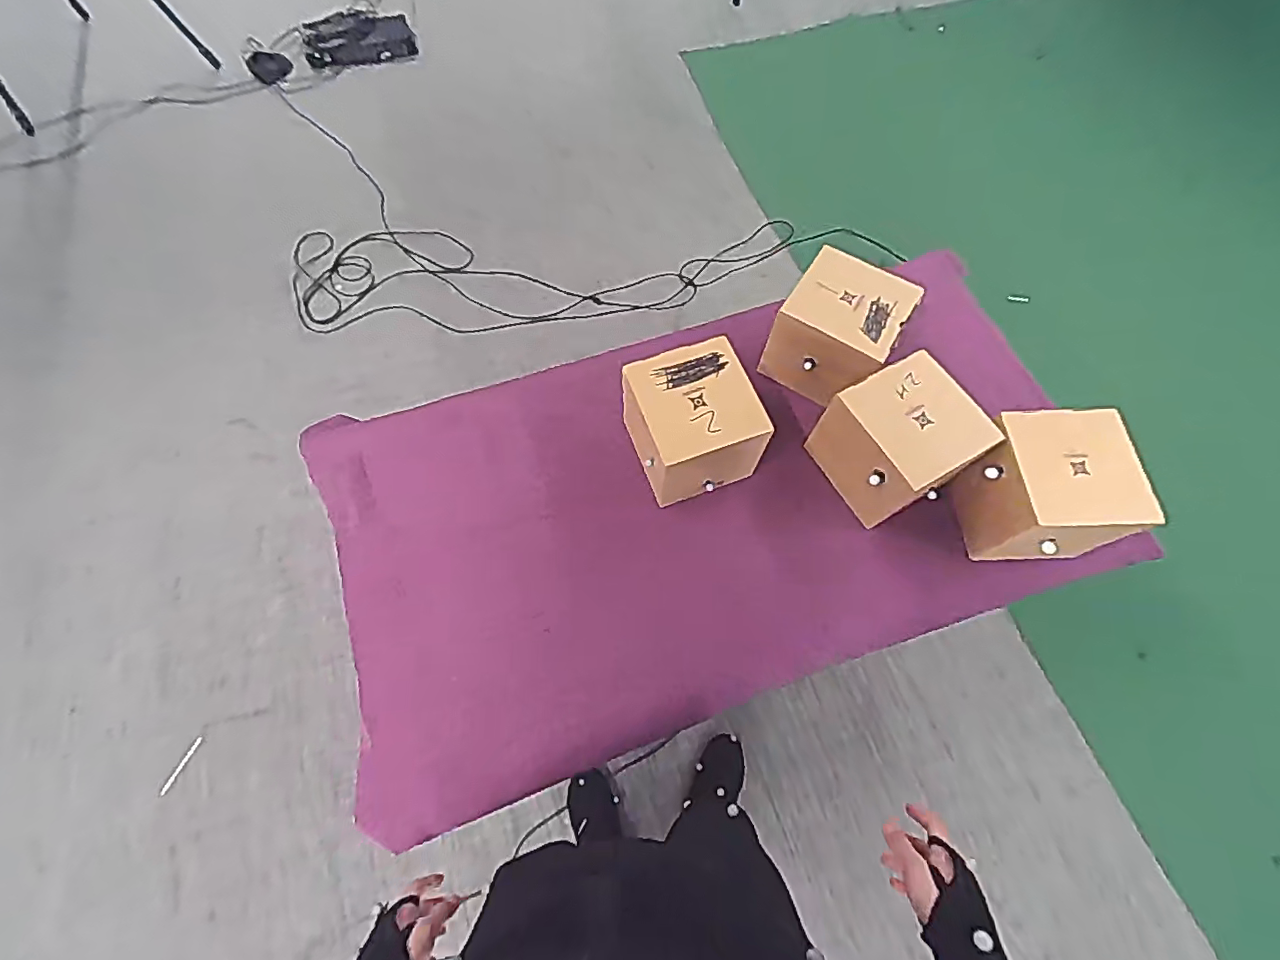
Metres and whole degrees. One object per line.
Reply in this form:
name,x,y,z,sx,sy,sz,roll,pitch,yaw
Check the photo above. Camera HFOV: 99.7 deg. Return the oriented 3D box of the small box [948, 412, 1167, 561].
small box,0.590,0.018,0.795,0.168,0.176,0.179,-1,65,0
